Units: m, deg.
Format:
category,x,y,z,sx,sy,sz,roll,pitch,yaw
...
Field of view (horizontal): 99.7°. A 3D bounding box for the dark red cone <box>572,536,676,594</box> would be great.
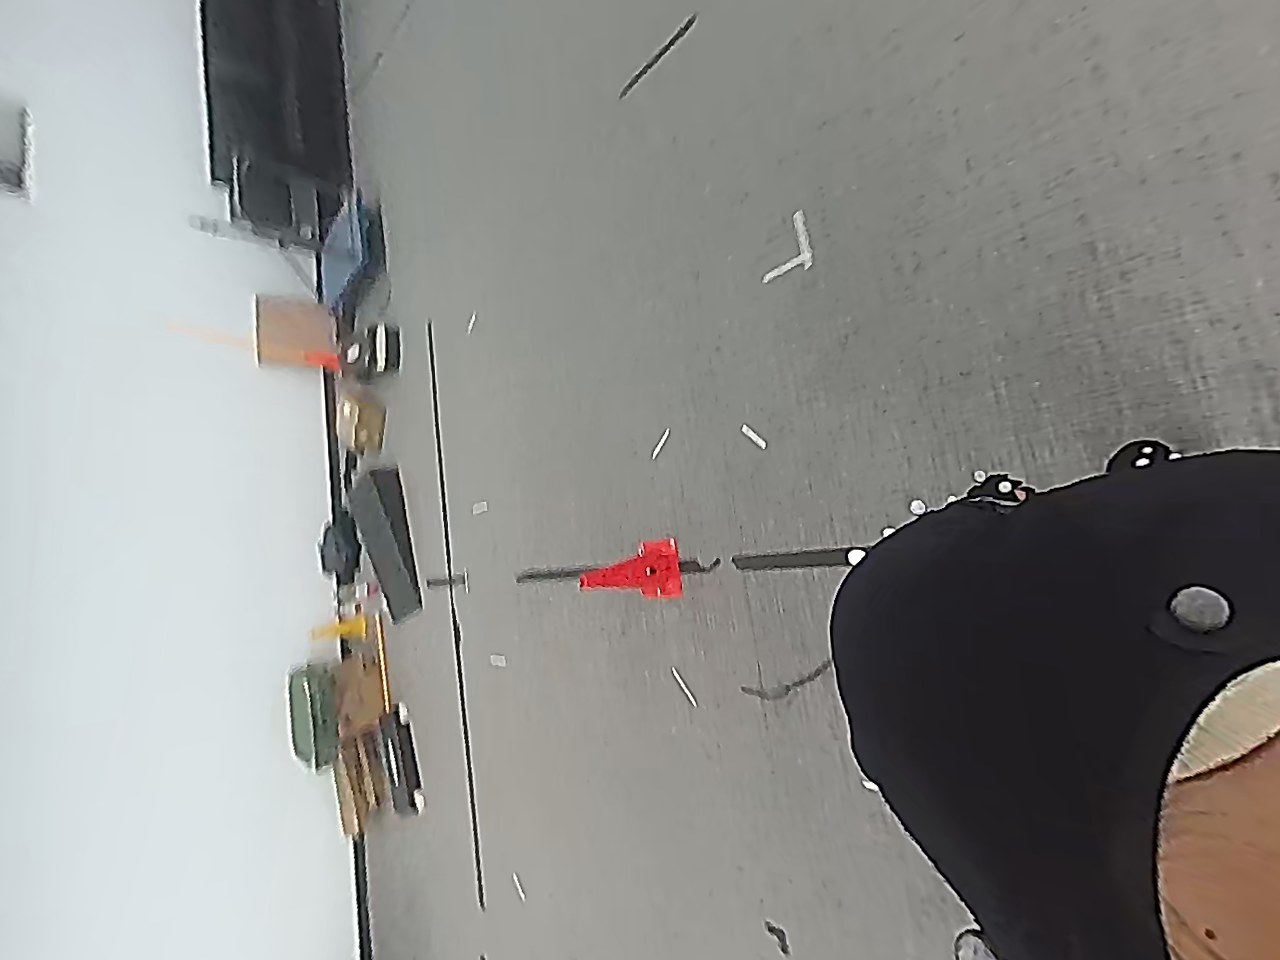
category,x,y,z,sx,sy,sz,roll,pitch,yaw
dark red cone,-0.068,0.310,1.815,0.202,0.394,0.201,-14,82,44
